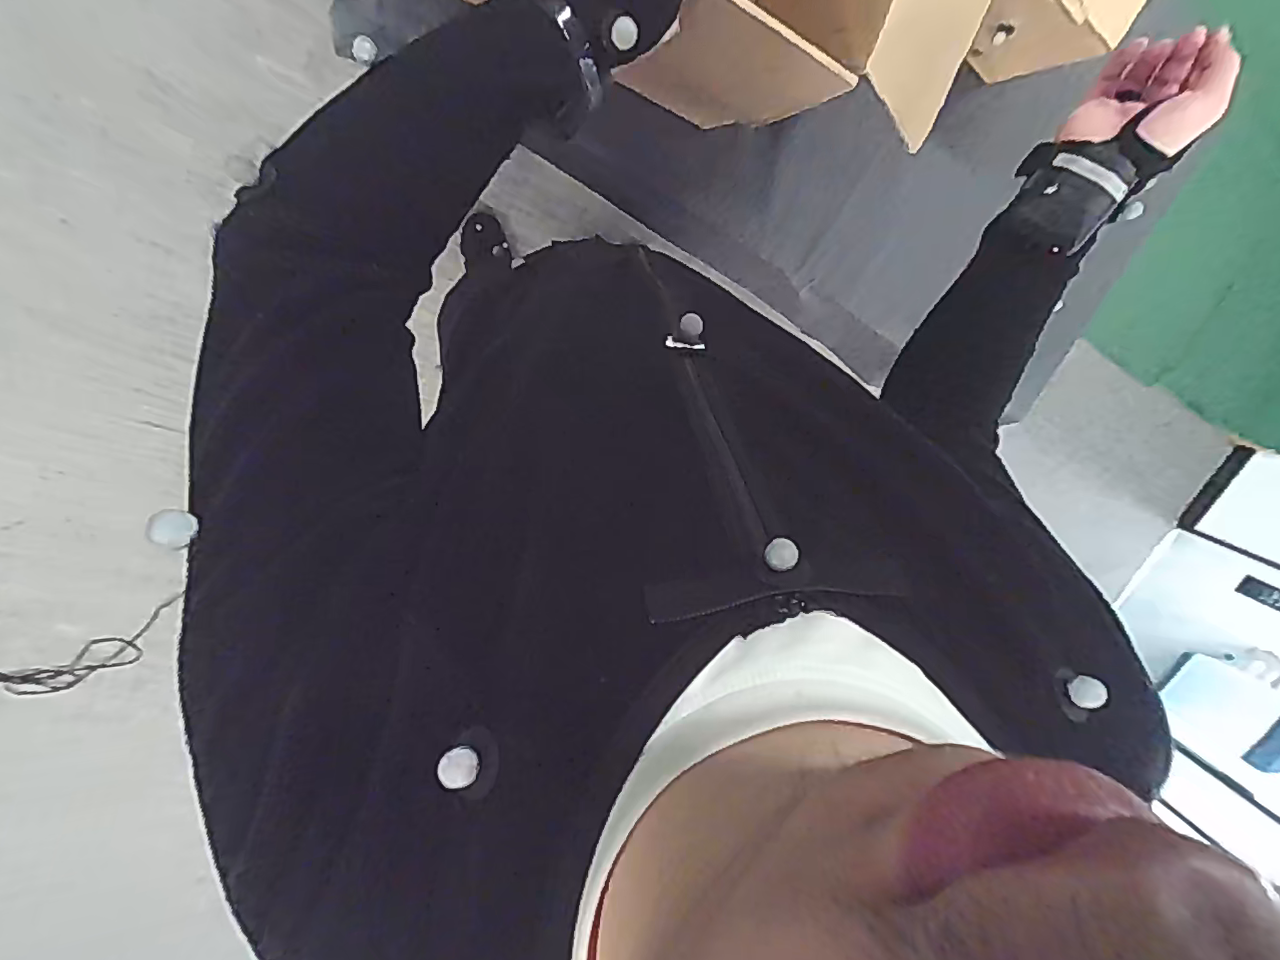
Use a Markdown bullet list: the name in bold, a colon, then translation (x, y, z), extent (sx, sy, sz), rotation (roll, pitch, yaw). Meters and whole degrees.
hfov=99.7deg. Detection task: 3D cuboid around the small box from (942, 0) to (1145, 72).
- **small box**: translation (0.499, -0.633, 0.643), extent (0.168, 0.176, 0.179), rotation (21, 108, -27)
